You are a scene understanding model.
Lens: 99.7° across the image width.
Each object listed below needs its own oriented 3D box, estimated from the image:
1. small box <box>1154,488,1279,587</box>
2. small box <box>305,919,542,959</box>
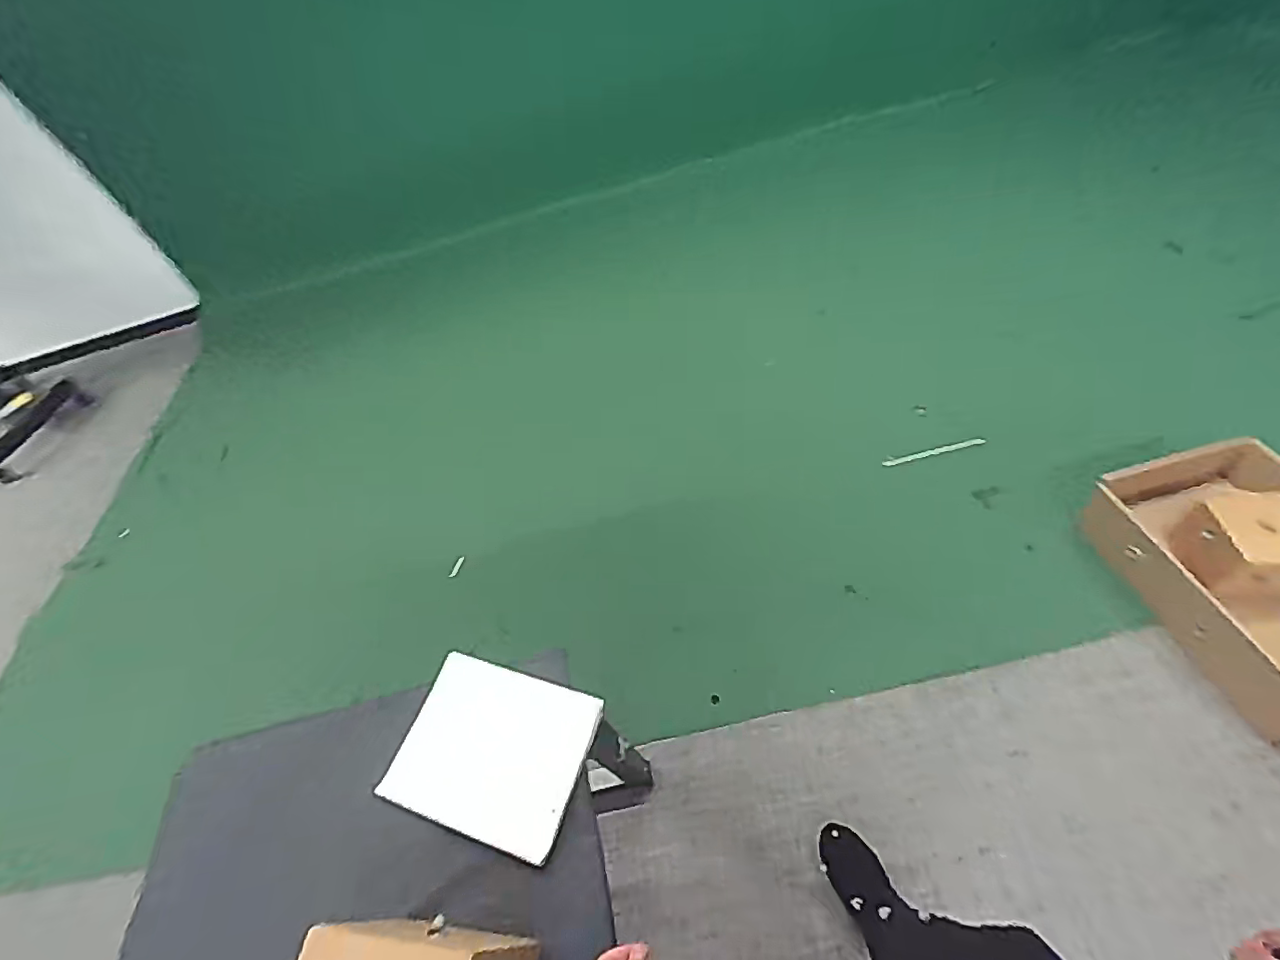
[{"bbox_3d":[1.387,0.143,1.273,0.168,0.176,0.179,-6,52,9],"label":"small box"},{"bbox_3d":[-0.215,0.531,0.512,0.179,0.176,0.168,-3,53,13],"label":"small box"}]
